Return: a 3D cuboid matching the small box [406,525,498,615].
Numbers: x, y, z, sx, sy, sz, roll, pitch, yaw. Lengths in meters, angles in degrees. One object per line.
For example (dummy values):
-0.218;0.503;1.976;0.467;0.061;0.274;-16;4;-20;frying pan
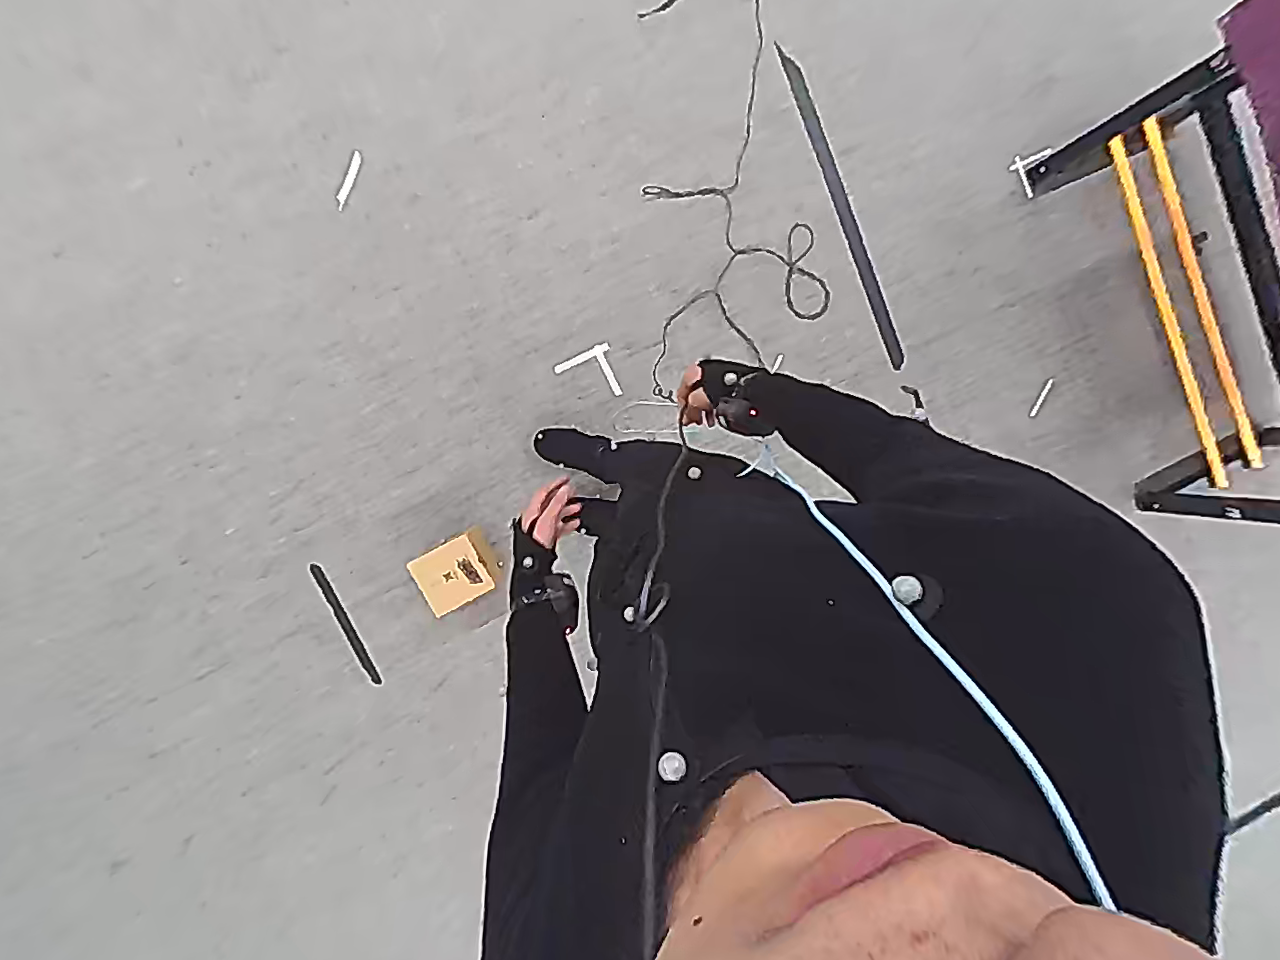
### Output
-0.507;0.239;1.493;0.179;0.176;0.168;-28;96;-4;small box
